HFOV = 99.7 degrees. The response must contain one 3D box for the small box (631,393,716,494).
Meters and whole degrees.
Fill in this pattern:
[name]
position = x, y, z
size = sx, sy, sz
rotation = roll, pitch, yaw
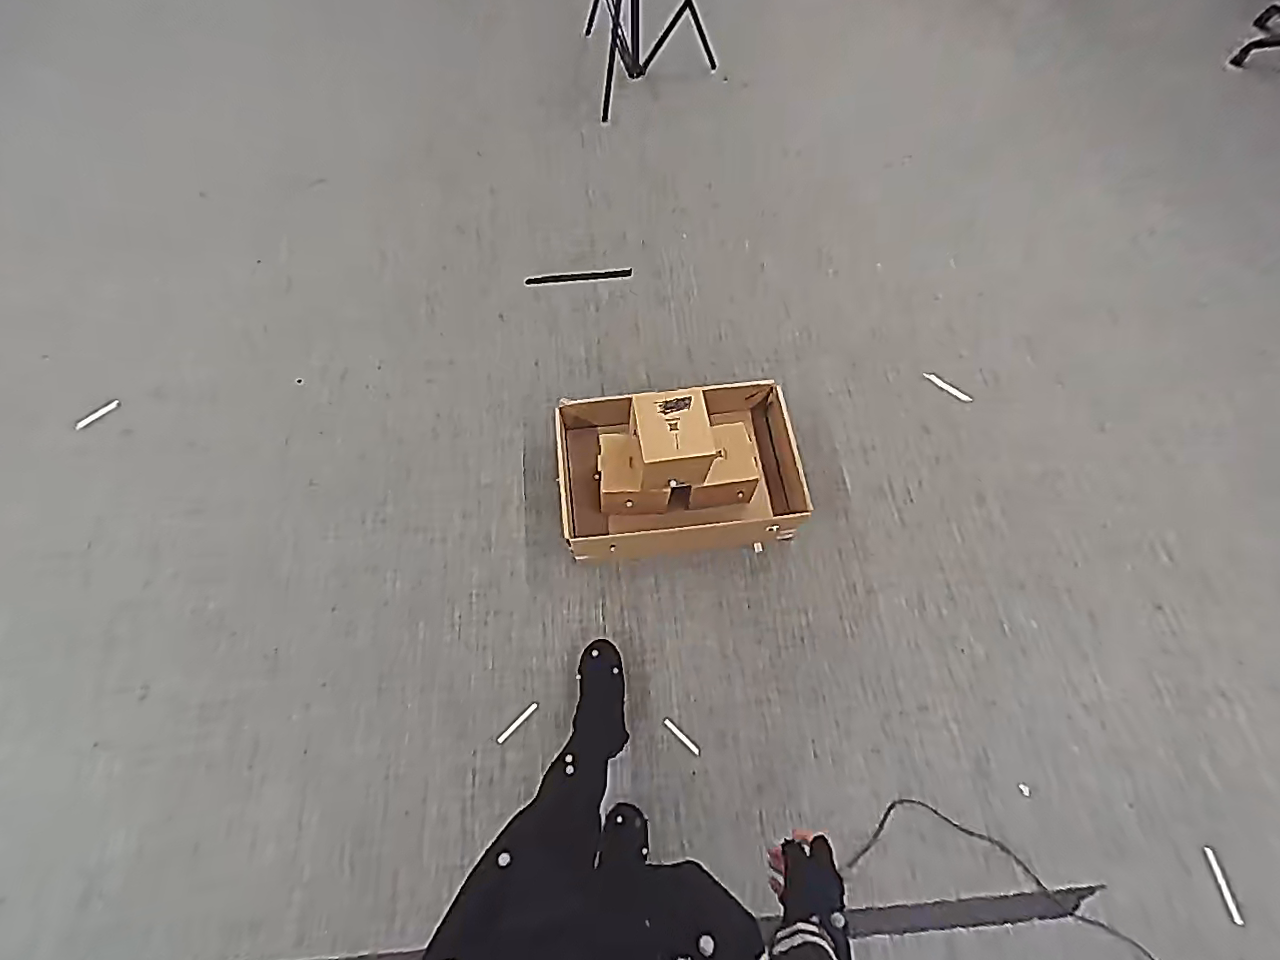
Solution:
[small box]
position = 0.071, -0.083, 1.291
size = 0.168, 0.176, 0.179
rotation = -7, 67, -6
